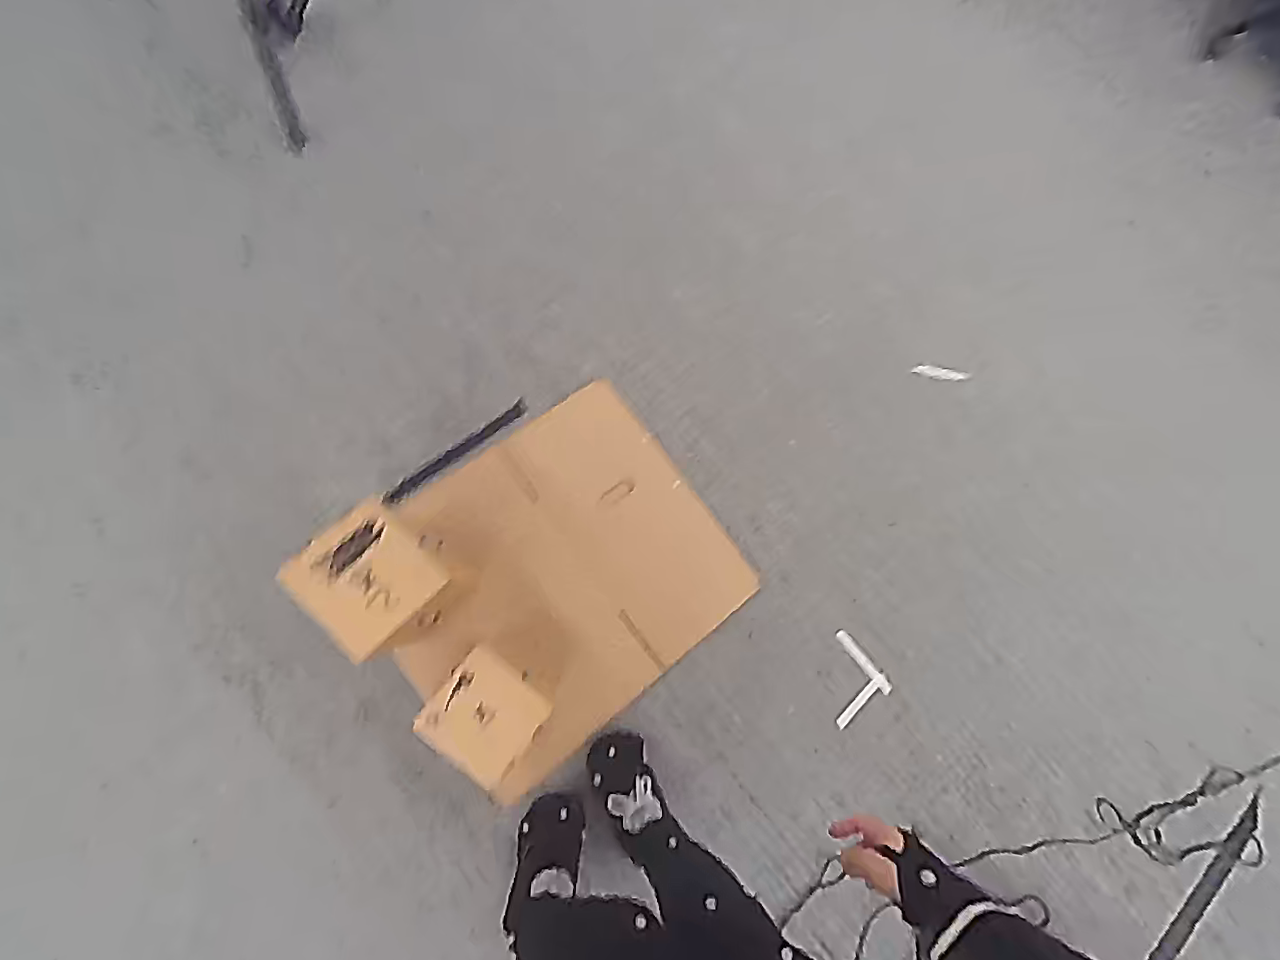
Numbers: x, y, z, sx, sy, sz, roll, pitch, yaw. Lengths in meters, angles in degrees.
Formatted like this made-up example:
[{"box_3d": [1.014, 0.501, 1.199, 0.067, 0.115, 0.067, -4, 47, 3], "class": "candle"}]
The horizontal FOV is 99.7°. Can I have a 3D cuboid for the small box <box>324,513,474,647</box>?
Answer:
[{"box_3d": [-0.437, 0.189, 1.013, 0.179, 0.176, 0.168, 43, 74, 1], "class": "small box"}]

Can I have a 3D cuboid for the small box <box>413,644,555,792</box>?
[{"box_3d": [-0.275, 0.417, 0.987, 0.179, 0.176, 0.168, 39, 74, -1], "class": "small box"}]
